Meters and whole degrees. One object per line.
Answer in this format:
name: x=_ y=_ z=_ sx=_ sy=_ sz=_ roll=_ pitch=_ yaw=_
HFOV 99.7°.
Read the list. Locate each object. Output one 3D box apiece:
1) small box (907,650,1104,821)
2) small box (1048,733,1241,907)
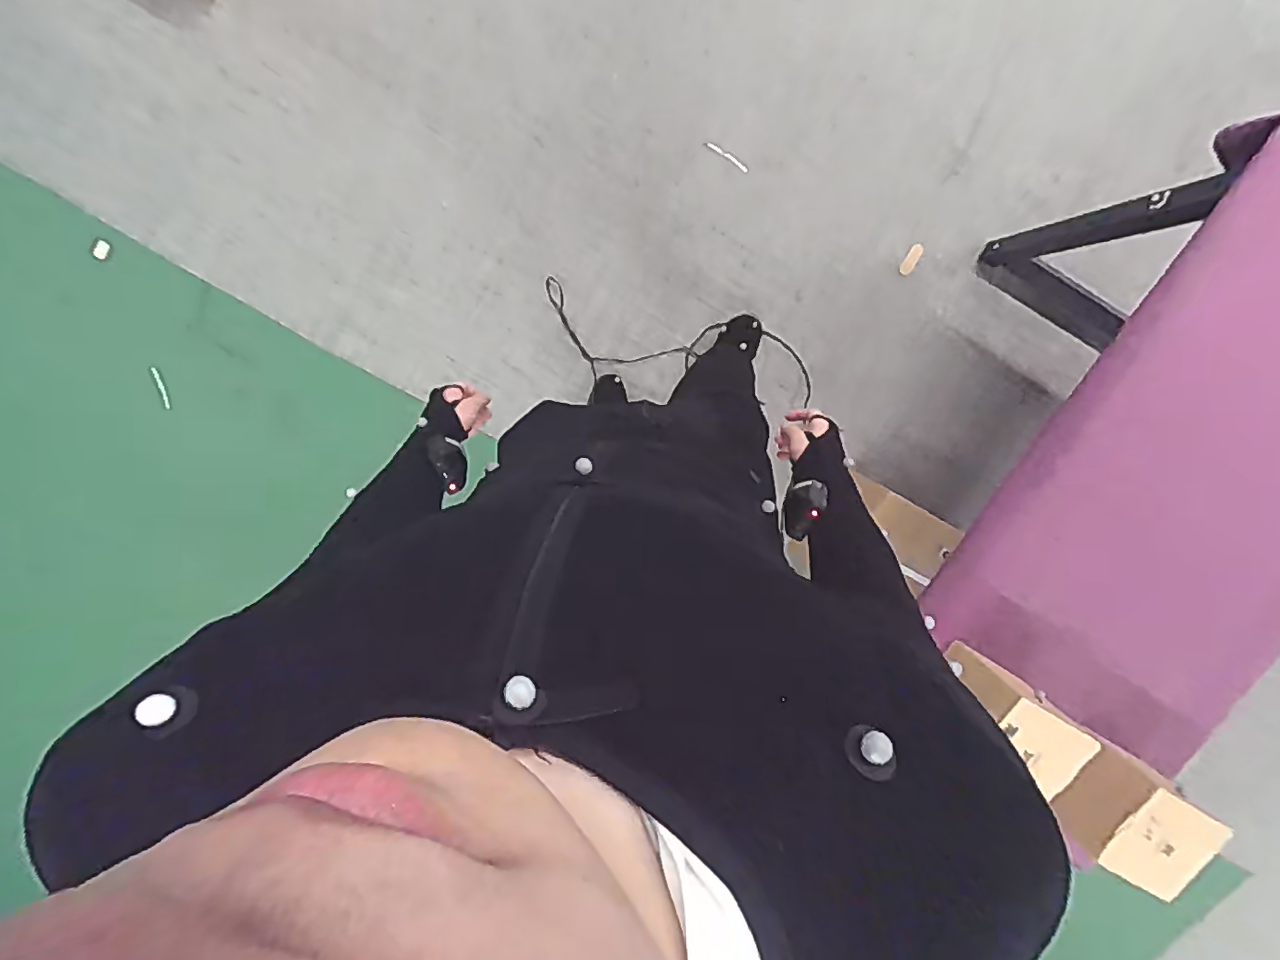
small box: x=0.604 y=0.420 z=0.916 sx=0.179 sy=0.176 sz=0.168 roll=31 pitch=99 yaw=-11
small box: x=0.864 y=0.591 z=0.961 sx=0.179 sy=0.176 sz=0.168 roll=31 pitch=98 yaw=-7
